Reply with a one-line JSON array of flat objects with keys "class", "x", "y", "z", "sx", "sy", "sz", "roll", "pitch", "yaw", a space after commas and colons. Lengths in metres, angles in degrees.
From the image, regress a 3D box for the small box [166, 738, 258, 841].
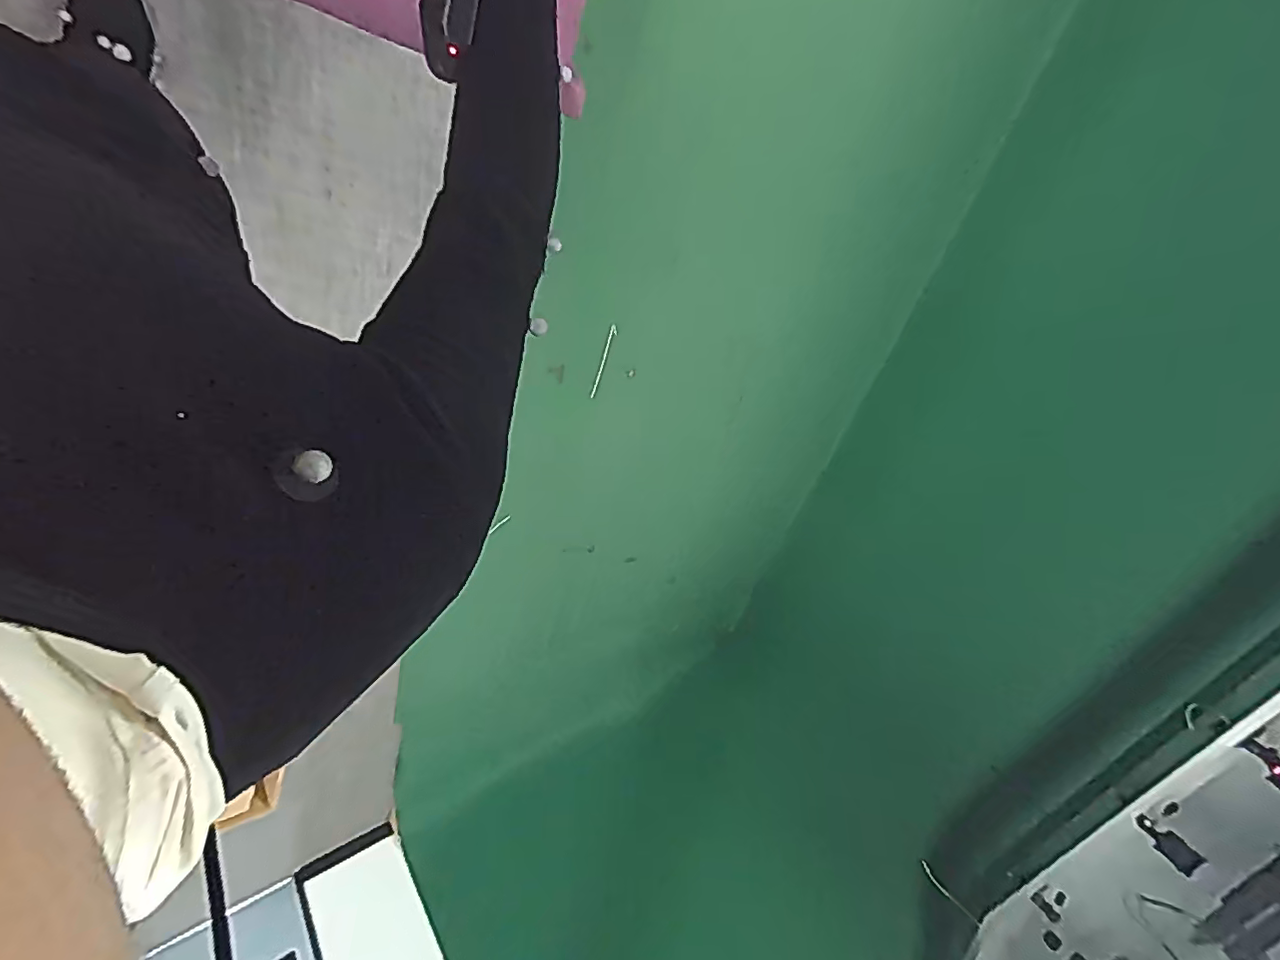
[{"class": "small box", "x": -1.248, "y": 0.889, "z": 1.573, "sx": 0.179, "sy": 0.176, "sz": 0.168, "roll": 2, "pitch": 122, "yaw": -48}]
